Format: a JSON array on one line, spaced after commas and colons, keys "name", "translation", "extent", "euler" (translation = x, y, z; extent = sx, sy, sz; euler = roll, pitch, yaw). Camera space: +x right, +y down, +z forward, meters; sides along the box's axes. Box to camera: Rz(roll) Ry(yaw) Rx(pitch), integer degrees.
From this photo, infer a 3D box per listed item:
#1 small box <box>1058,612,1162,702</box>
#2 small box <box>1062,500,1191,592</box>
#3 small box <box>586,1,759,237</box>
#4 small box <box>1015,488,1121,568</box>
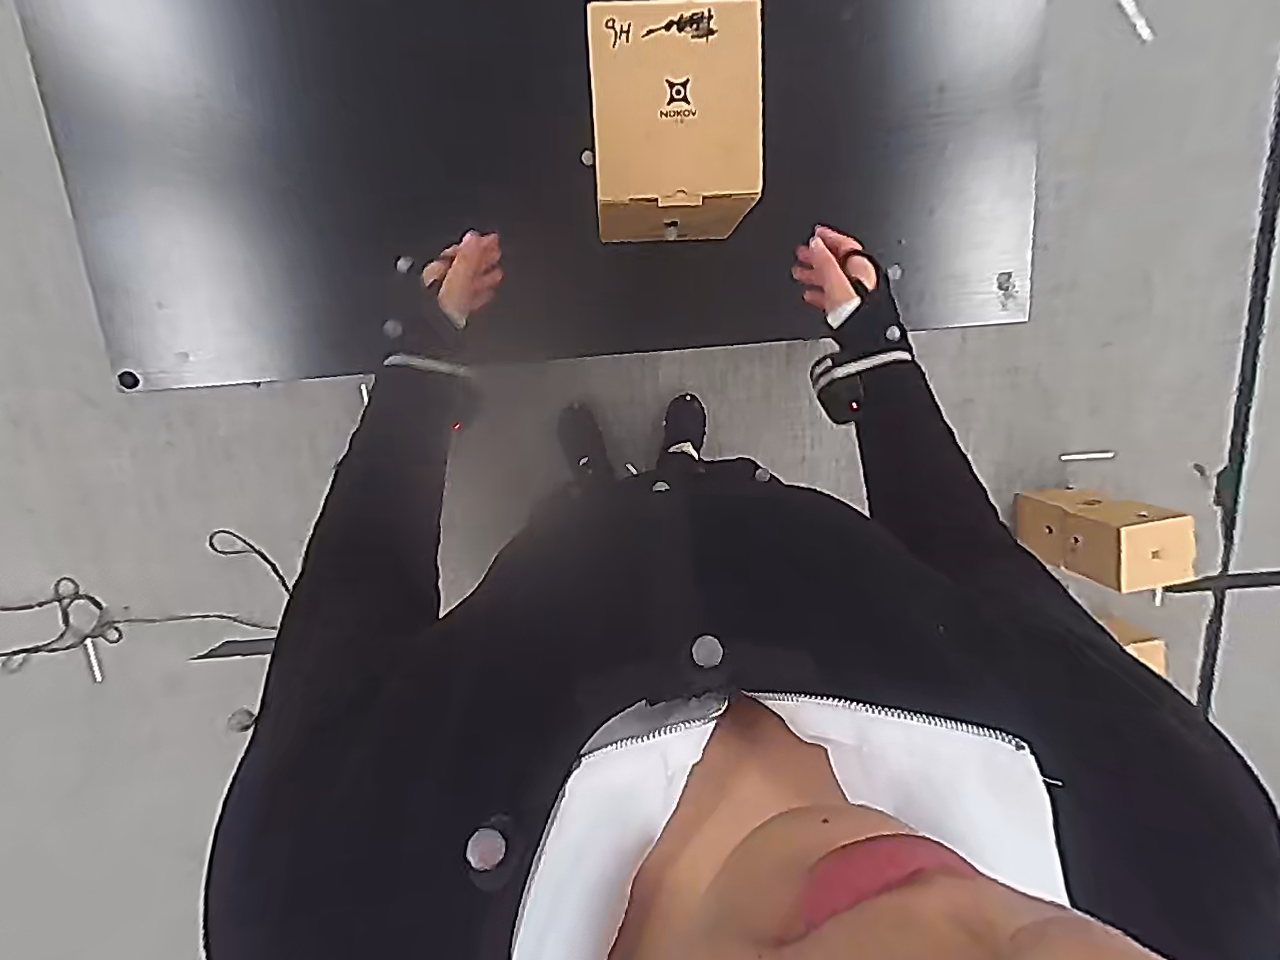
[{"name": "small box", "translation": [1.366, 0.513, 1.583], "extent": [0.168, 0.176, 0.179], "euler": [-11, 102, 0]}, {"name": "small box", "translation": [1.192, 0.155, 1.335], "extent": [0.179, 0.176, 0.168], "euler": [-11, 100, 1]}, {"name": "small box", "translation": [0.031, -0.378, 0.602], "extent": [0.168, 0.176, 0.179], "euler": [-3, 101, -2]}, {"name": "small box", "translation": [1.174, 0.125, 1.494], "extent": [0.168, 0.176, 0.179], "euler": [-7, 102, -1]}]
